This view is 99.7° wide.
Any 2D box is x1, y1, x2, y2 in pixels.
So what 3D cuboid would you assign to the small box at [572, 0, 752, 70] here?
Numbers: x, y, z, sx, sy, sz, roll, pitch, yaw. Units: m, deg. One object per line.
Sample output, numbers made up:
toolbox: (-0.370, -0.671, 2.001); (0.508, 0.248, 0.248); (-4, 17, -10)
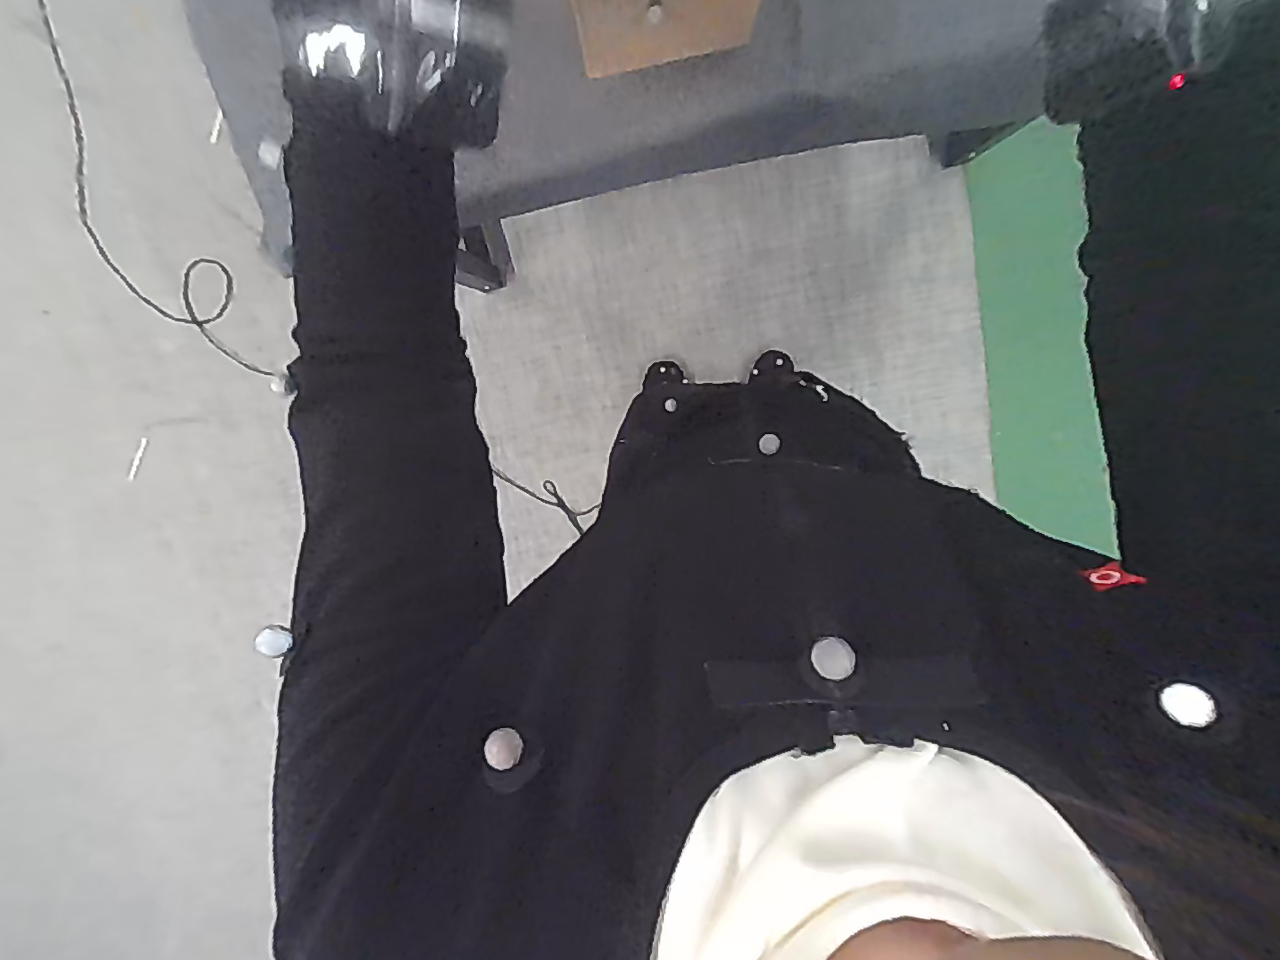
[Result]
small box: (0.013, -0.514, 0.490); (0.179, 0.176, 0.168); (-9, 102, 4)
